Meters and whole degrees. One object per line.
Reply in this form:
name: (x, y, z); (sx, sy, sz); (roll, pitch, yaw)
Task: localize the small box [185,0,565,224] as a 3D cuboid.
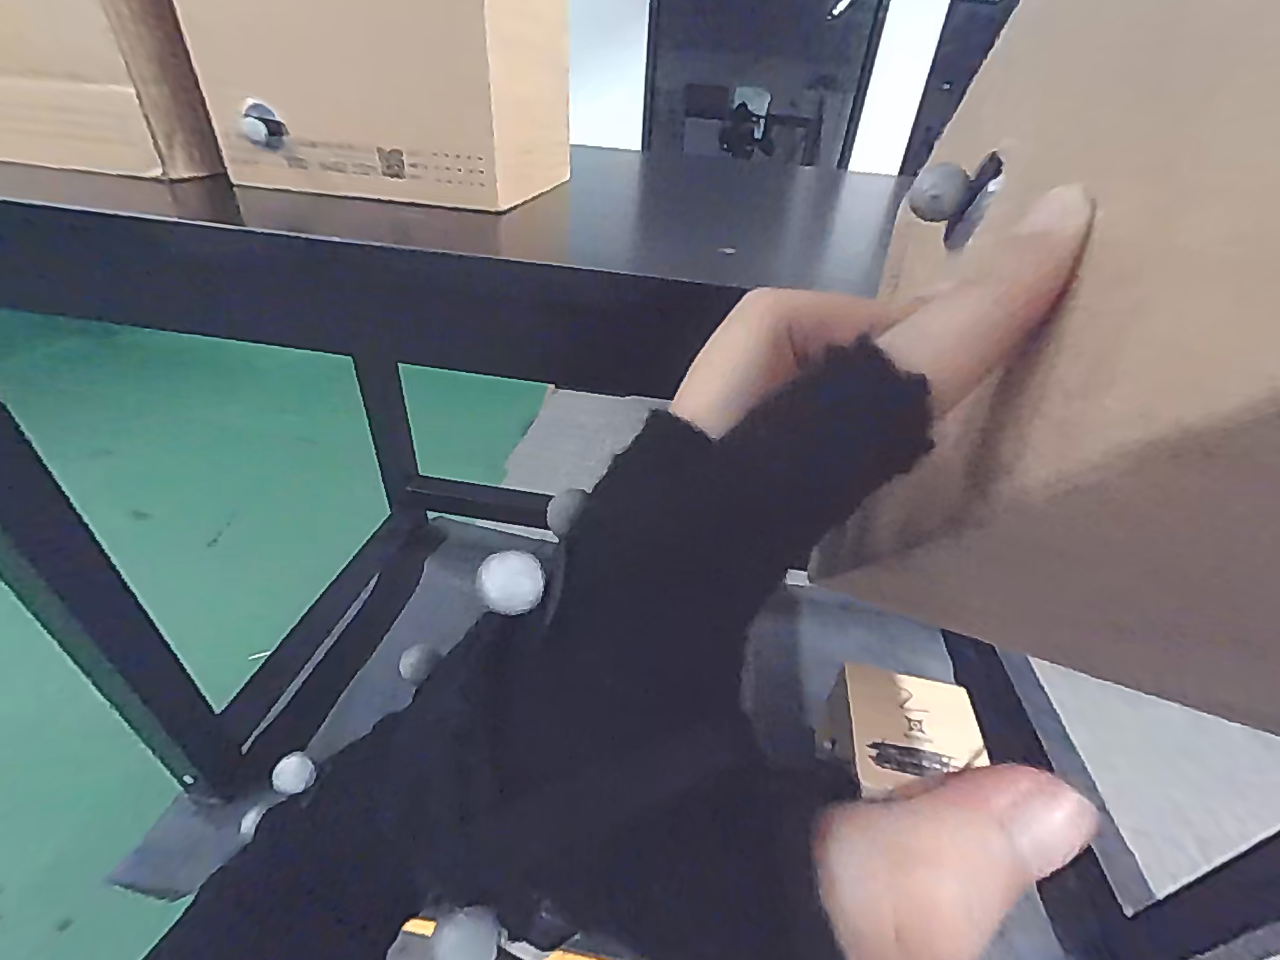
small box: (-0.145, -0.271, 0.344); (0.168, 0.176, 0.179); (8, 34, 4)
